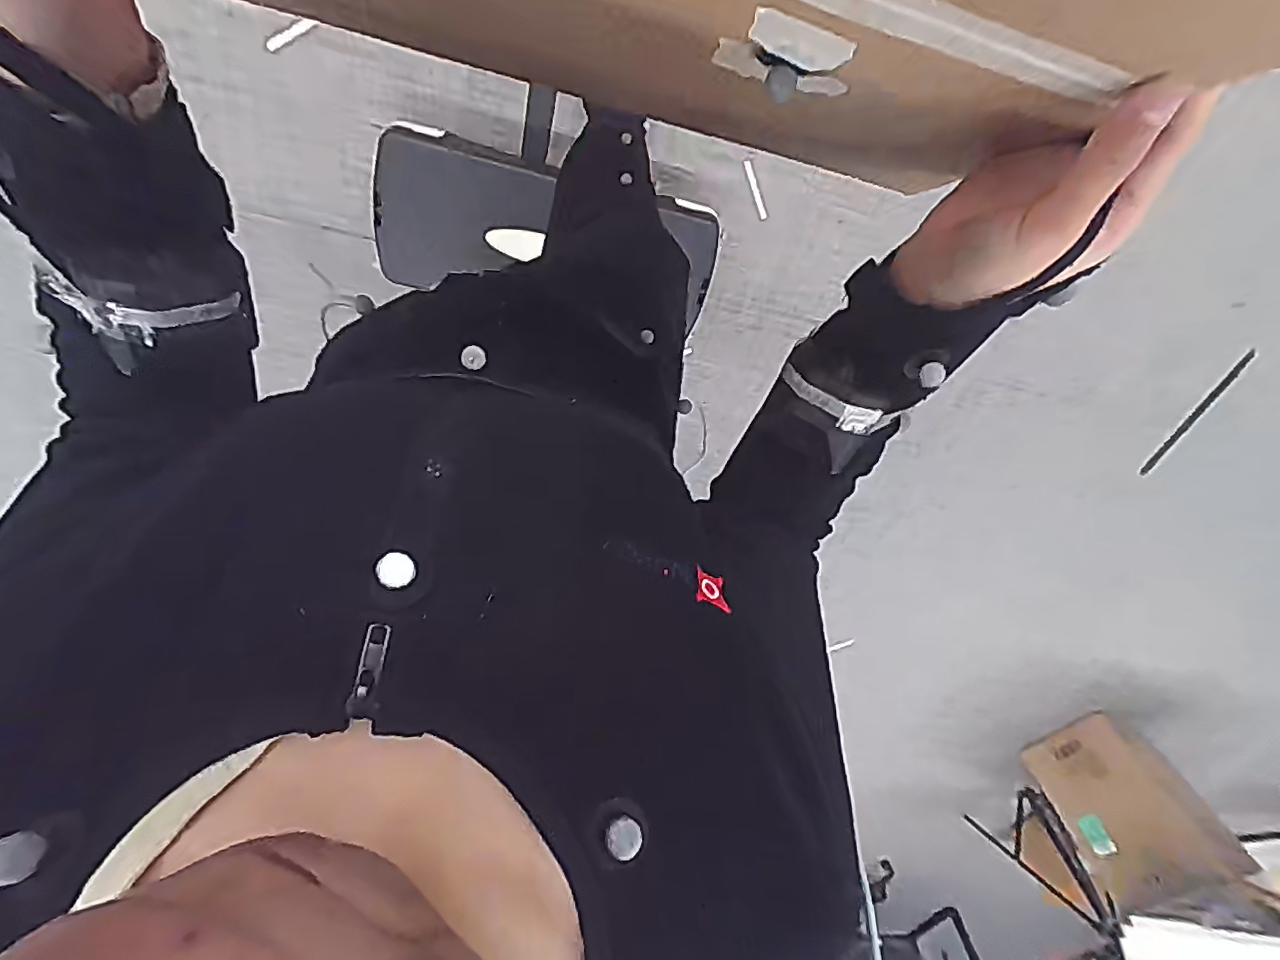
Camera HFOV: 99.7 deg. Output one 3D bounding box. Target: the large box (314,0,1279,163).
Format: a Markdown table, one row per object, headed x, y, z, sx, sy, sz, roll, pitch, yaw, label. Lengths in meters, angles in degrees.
| x | y | z | sx | sy | sz | roll | pitch | yaw | label |
| --- | --- | --- | --- | --- | --- | --- | --- | --- | --- |
| 0.031 | -0.327 | 0.122 | 0.408 | 0.320 | 0.320 | 7 | 106 | -12 | large box |
